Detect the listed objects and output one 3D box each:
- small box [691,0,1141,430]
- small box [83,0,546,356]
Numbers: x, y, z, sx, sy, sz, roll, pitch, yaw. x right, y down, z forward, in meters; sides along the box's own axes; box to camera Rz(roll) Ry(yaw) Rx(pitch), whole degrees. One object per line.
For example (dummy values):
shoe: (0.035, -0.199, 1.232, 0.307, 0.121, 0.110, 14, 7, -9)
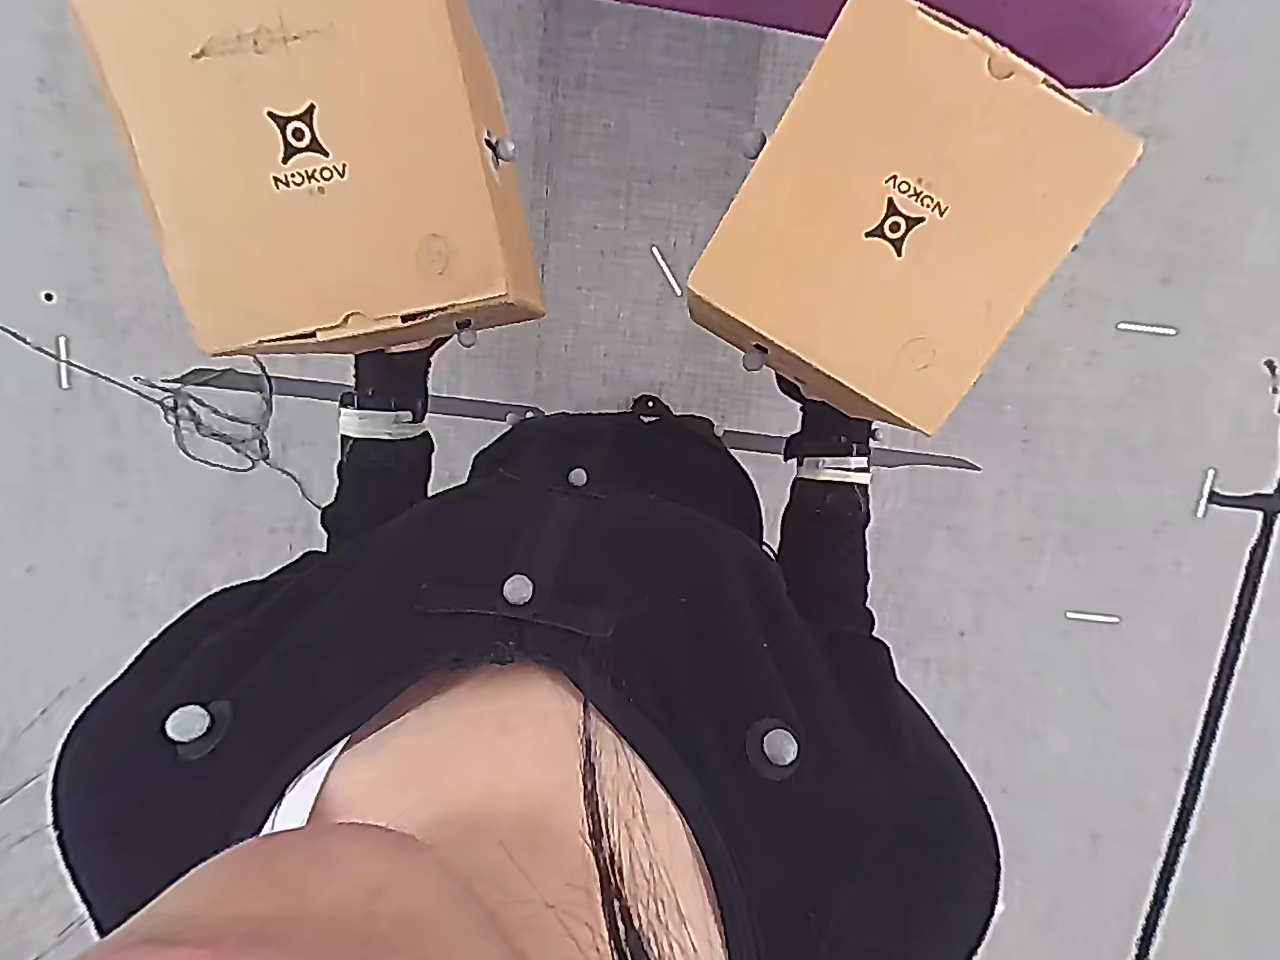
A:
small box: (0.150, -0.153, 0.367, 0.168, 0.176, 0.179, 31, 101, 0)
small box: (-0.162, -0.181, 0.339, 0.168, 0.176, 0.179, -12, 103, -1)
